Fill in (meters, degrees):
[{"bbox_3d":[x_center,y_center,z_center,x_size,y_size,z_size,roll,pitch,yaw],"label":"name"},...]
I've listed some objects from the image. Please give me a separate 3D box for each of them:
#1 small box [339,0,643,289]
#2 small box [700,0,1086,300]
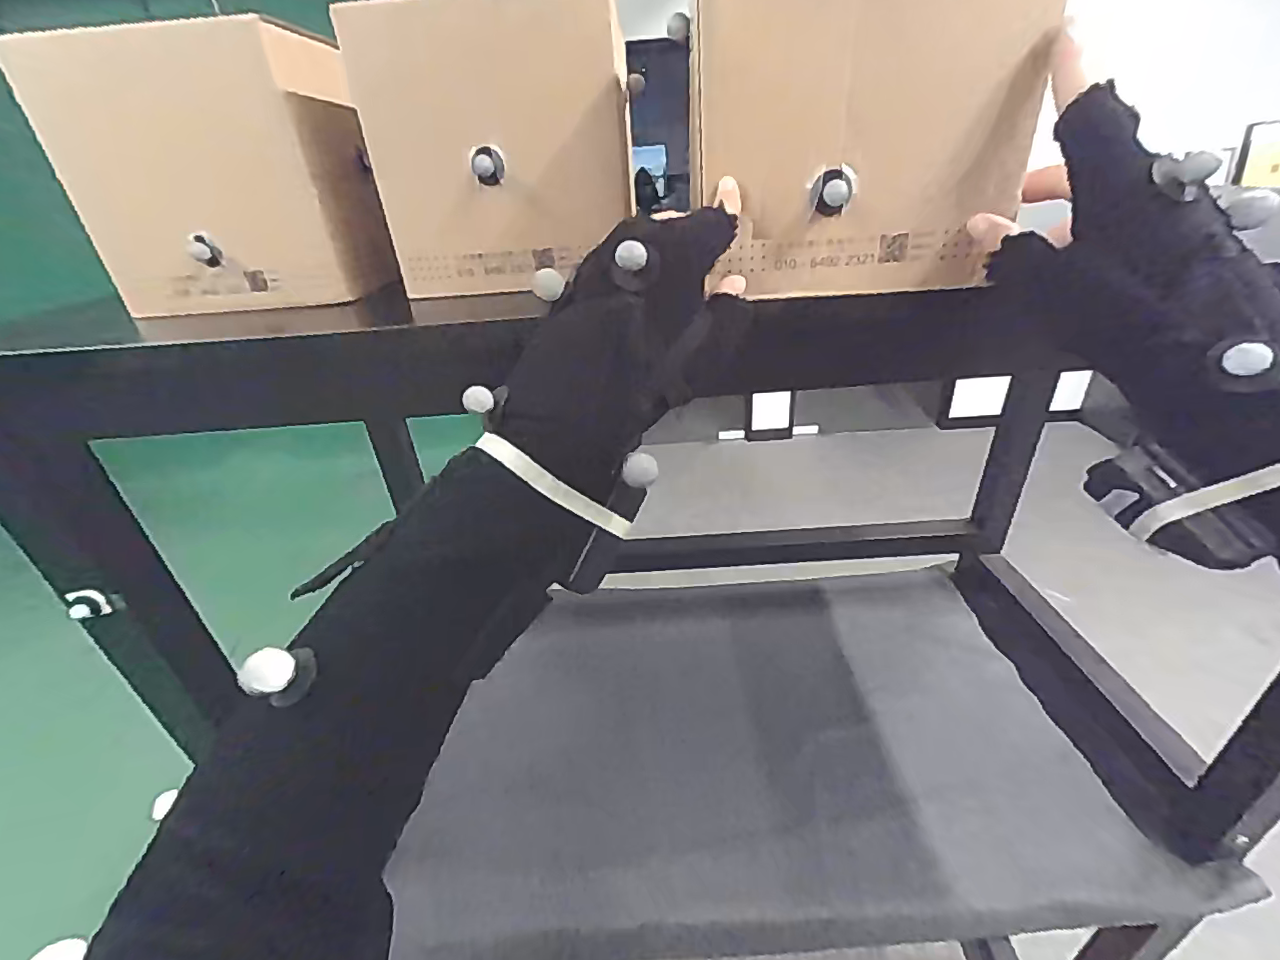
[{"bbox_3d":[-0.084,-0.246,0.415,0.168,0.176,0.179,-2,30,3],"label":"small box"},{"bbox_3d":[0.123,-0.215,0.338,0.168,0.176,0.179,-2,30,5],"label":"small box"}]
